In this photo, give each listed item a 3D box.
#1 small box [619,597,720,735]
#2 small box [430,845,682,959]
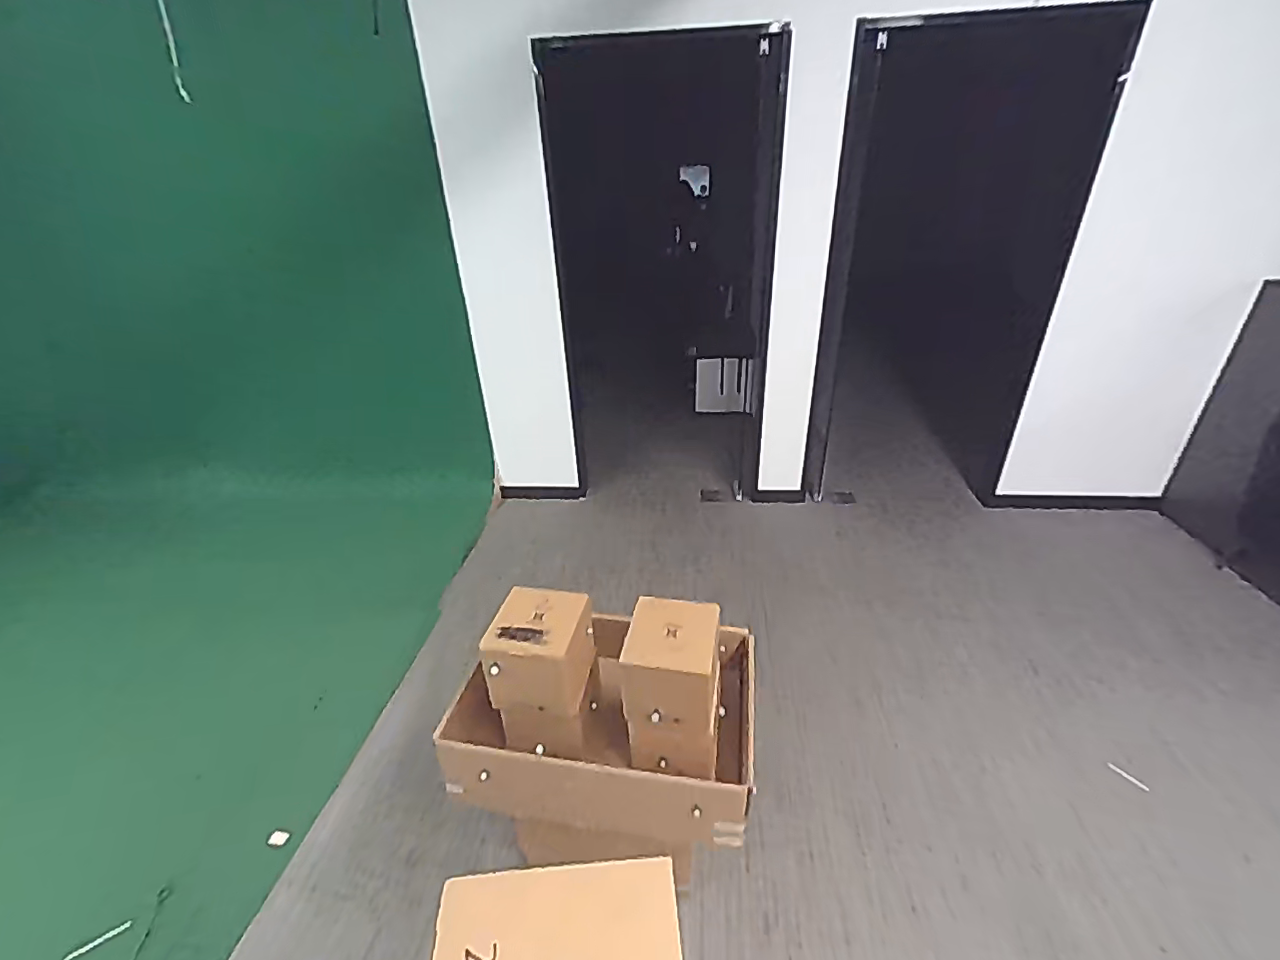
[{"bbox_3d":[0.064,0.356,1.050,0.168,0.176,0.179,3,30,13],"label":"small box"},{"bbox_3d":[-0.054,0.403,0.401,0.179,0.176,0.168,-4,34,-2],"label":"small box"}]
